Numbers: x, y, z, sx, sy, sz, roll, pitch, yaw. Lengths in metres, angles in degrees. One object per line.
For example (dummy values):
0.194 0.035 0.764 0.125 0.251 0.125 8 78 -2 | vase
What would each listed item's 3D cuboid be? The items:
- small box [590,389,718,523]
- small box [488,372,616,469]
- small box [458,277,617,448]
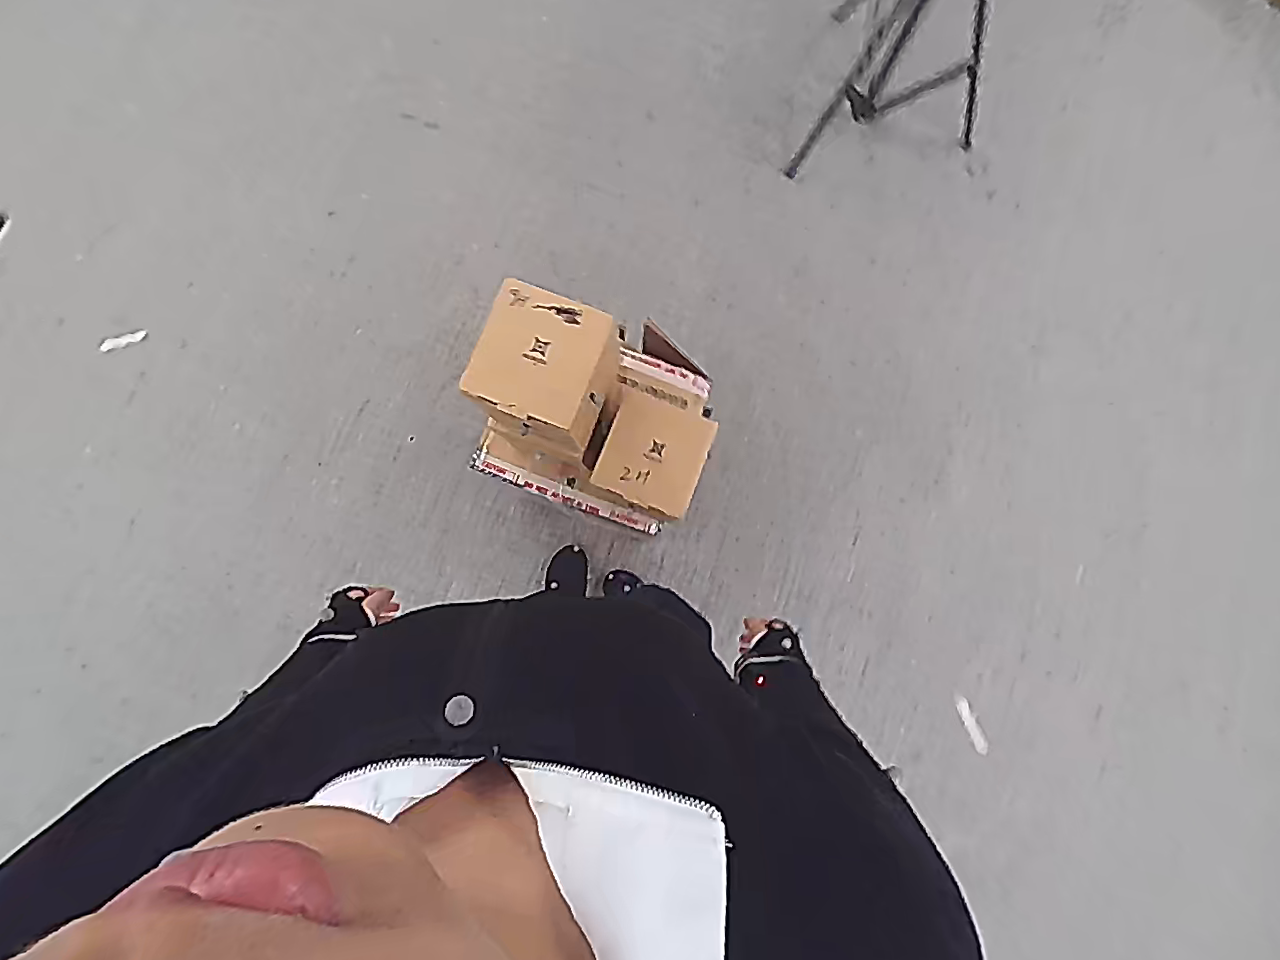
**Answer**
0.019 -0.033 0.963 0.168 0.176 0.179 22 84 0 | small box
-0.147 -0.132 0.970 0.168 0.176 0.179 20 85 2 | small box
-0.138 -0.161 0.808 0.168 0.176 0.179 22 85 2 | small box
